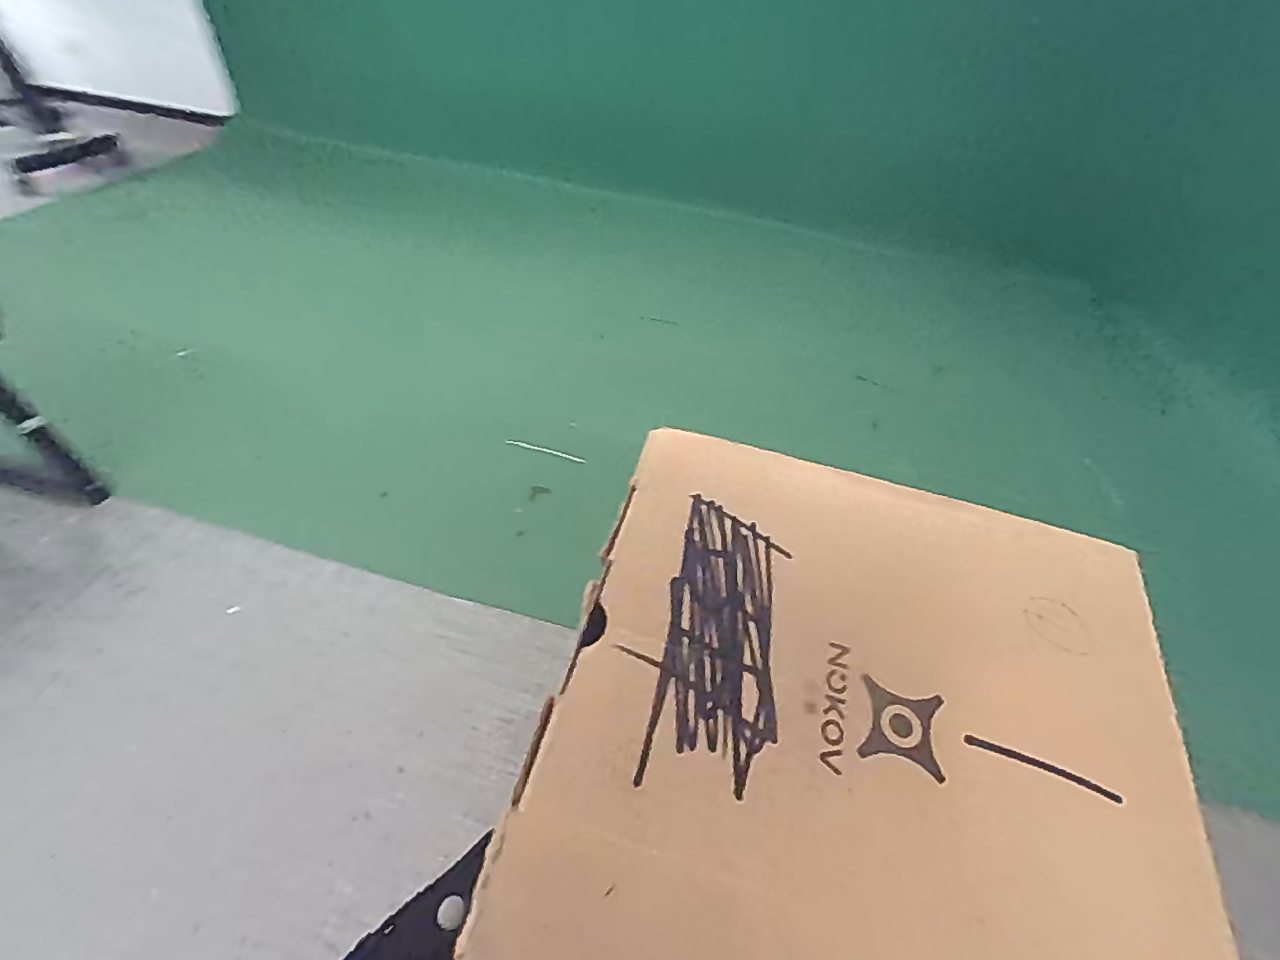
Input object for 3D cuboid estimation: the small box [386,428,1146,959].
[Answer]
[{"bbox_3d":[0.042,0.110,0.222,0.179,0.176,0.168,16,57,7],"label":"small box"}]
